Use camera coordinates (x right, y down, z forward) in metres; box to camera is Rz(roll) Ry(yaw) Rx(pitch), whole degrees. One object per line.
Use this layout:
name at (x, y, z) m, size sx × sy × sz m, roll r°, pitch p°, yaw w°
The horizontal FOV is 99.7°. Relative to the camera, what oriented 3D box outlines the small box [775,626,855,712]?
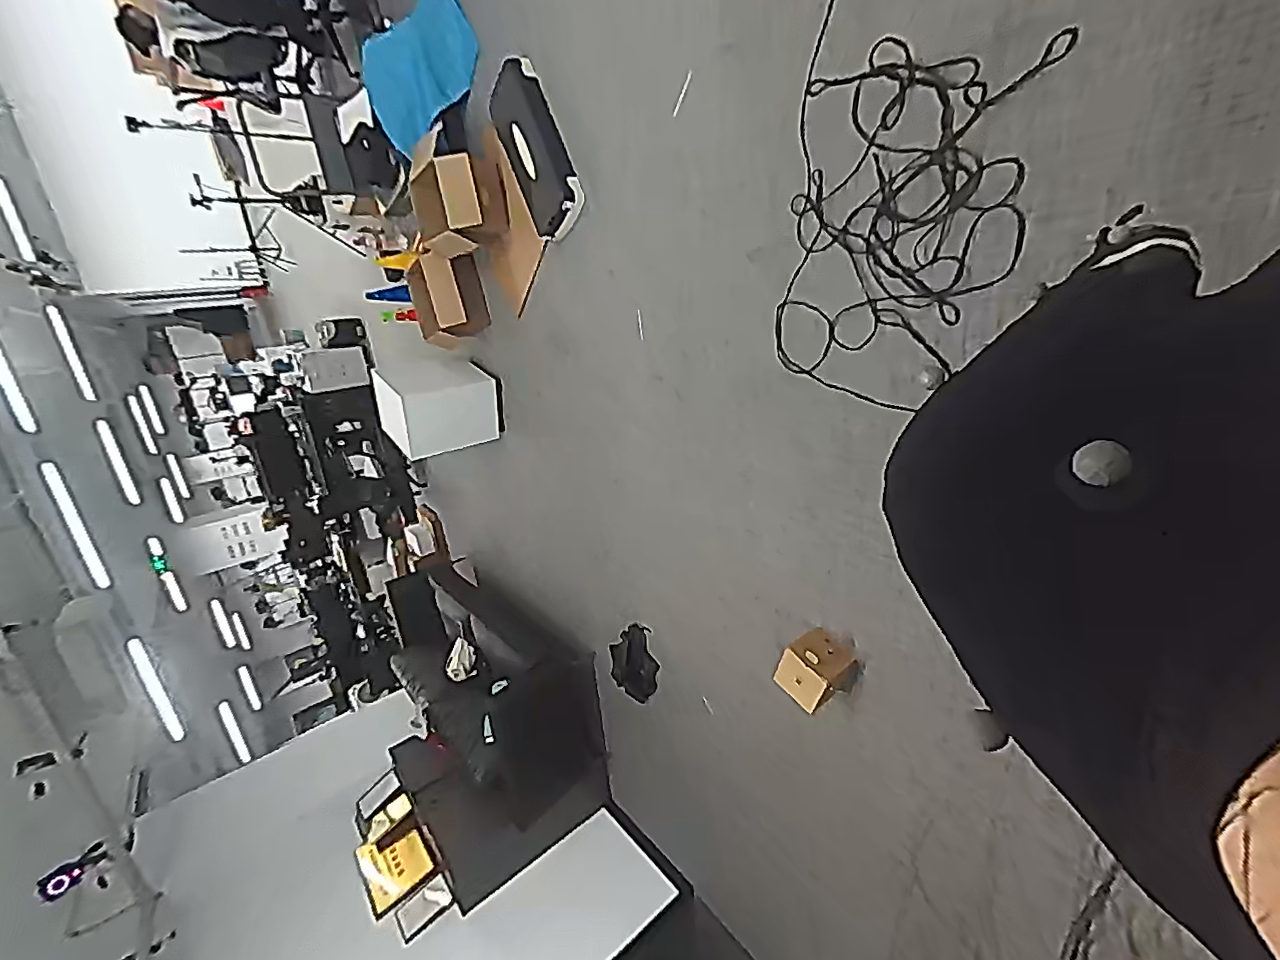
small box at (0.589, 0.629, 1.814) m, size 0.168 × 0.176 × 0.179 m, roll 40°, pitch 135°, yaw 37°
